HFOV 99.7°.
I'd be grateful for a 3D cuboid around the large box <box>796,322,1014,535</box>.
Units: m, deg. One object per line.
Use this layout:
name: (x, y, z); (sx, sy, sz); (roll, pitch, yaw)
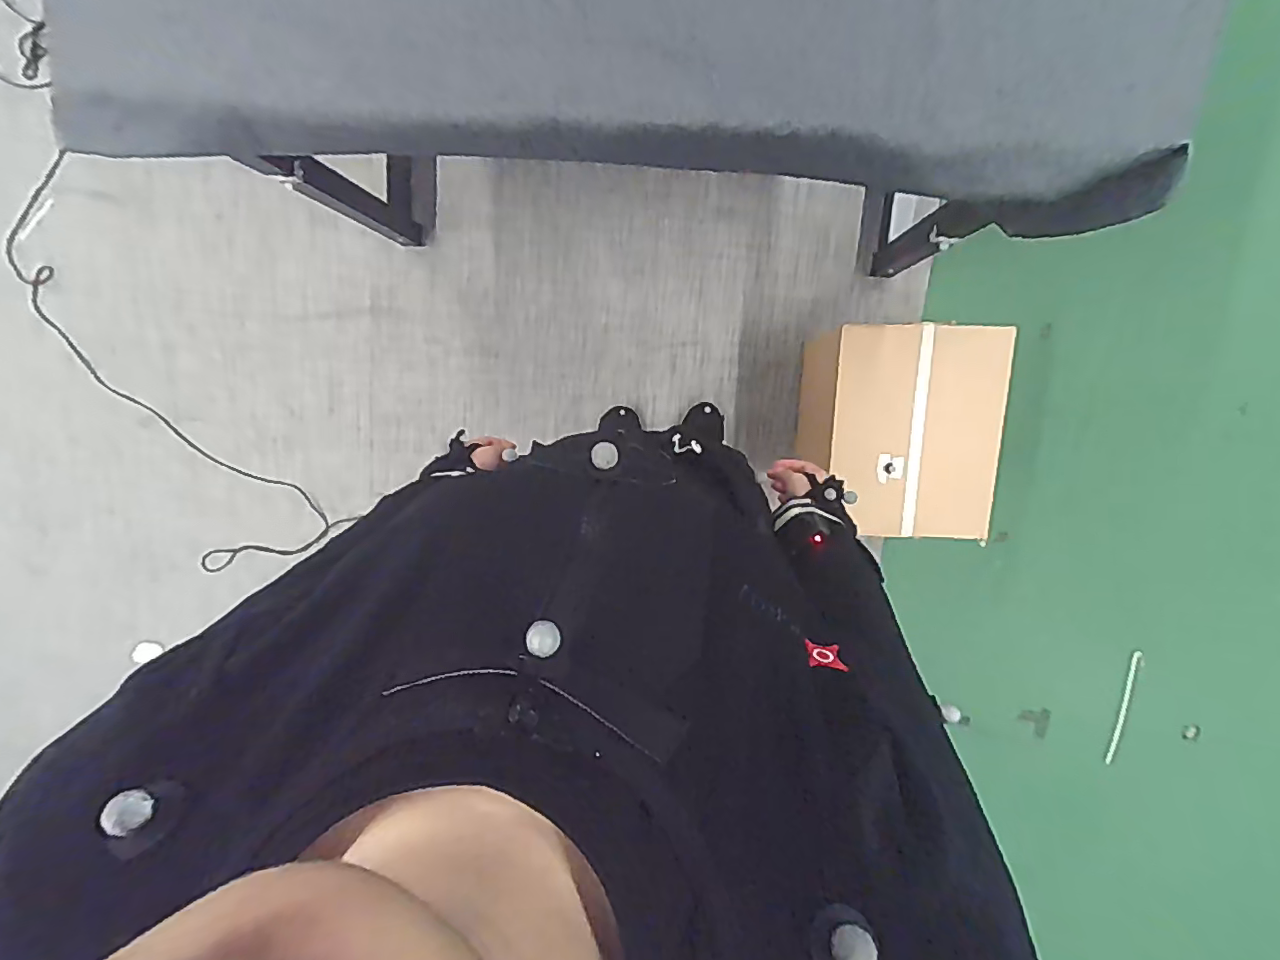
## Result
large box: (0.532, -0.120, 1.163); (0.320, 0.320, 0.408); (2, 100, 4)
